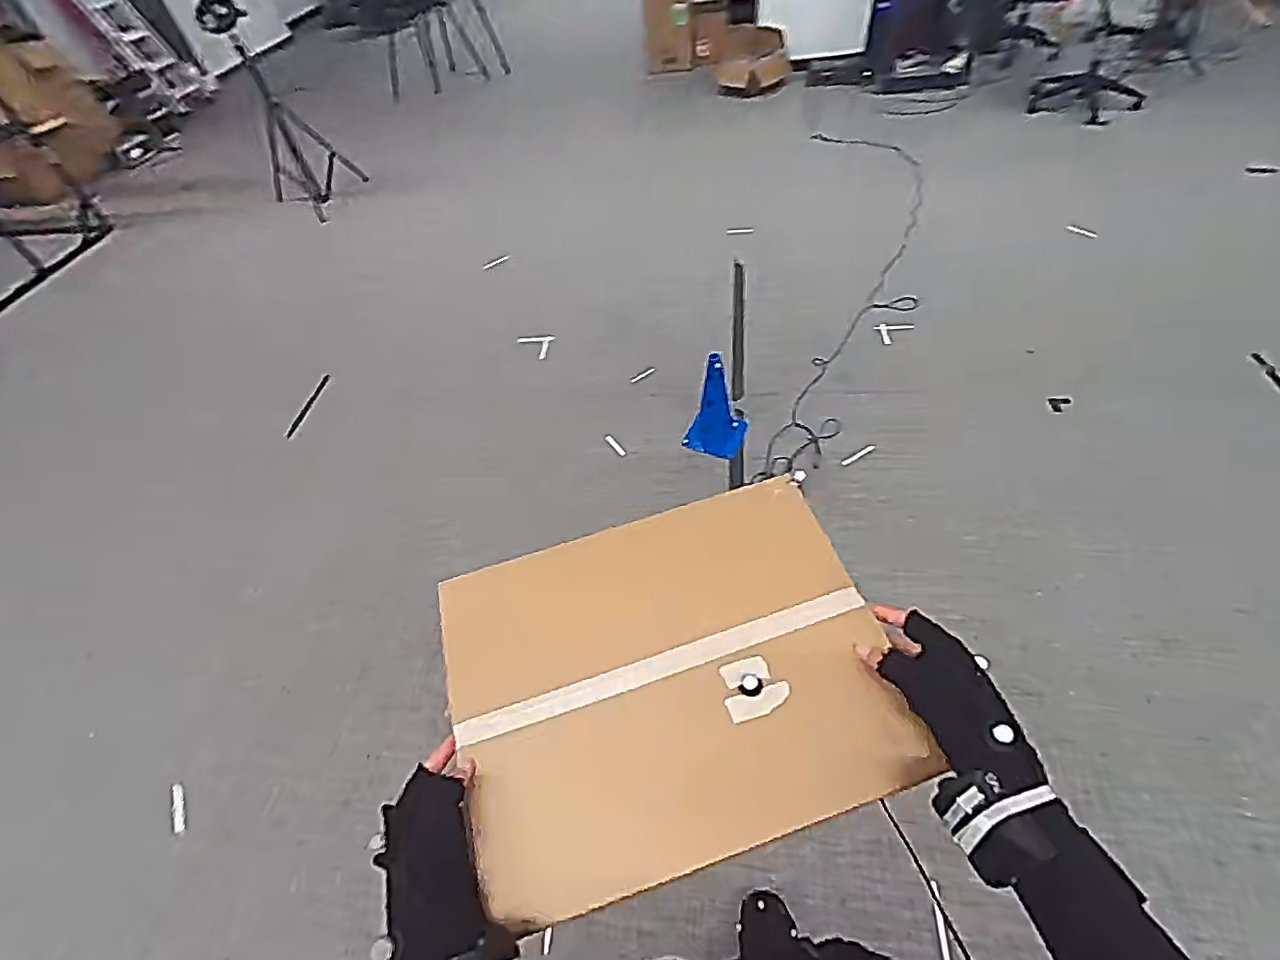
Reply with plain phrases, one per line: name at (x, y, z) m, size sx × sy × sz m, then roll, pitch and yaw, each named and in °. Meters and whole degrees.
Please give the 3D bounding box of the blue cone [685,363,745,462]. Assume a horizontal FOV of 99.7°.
blue cone at (0.259, -0.254, 1.875) m, size 0.193 × 0.380 × 0.192 m, roll 18°, pitch 56°, yaw 22°

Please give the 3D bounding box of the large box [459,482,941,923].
large box at (0.044, 0.259, 0.653) m, size 0.408 × 0.320 × 0.320 m, roll -16°, pitch 58°, yaw -5°
